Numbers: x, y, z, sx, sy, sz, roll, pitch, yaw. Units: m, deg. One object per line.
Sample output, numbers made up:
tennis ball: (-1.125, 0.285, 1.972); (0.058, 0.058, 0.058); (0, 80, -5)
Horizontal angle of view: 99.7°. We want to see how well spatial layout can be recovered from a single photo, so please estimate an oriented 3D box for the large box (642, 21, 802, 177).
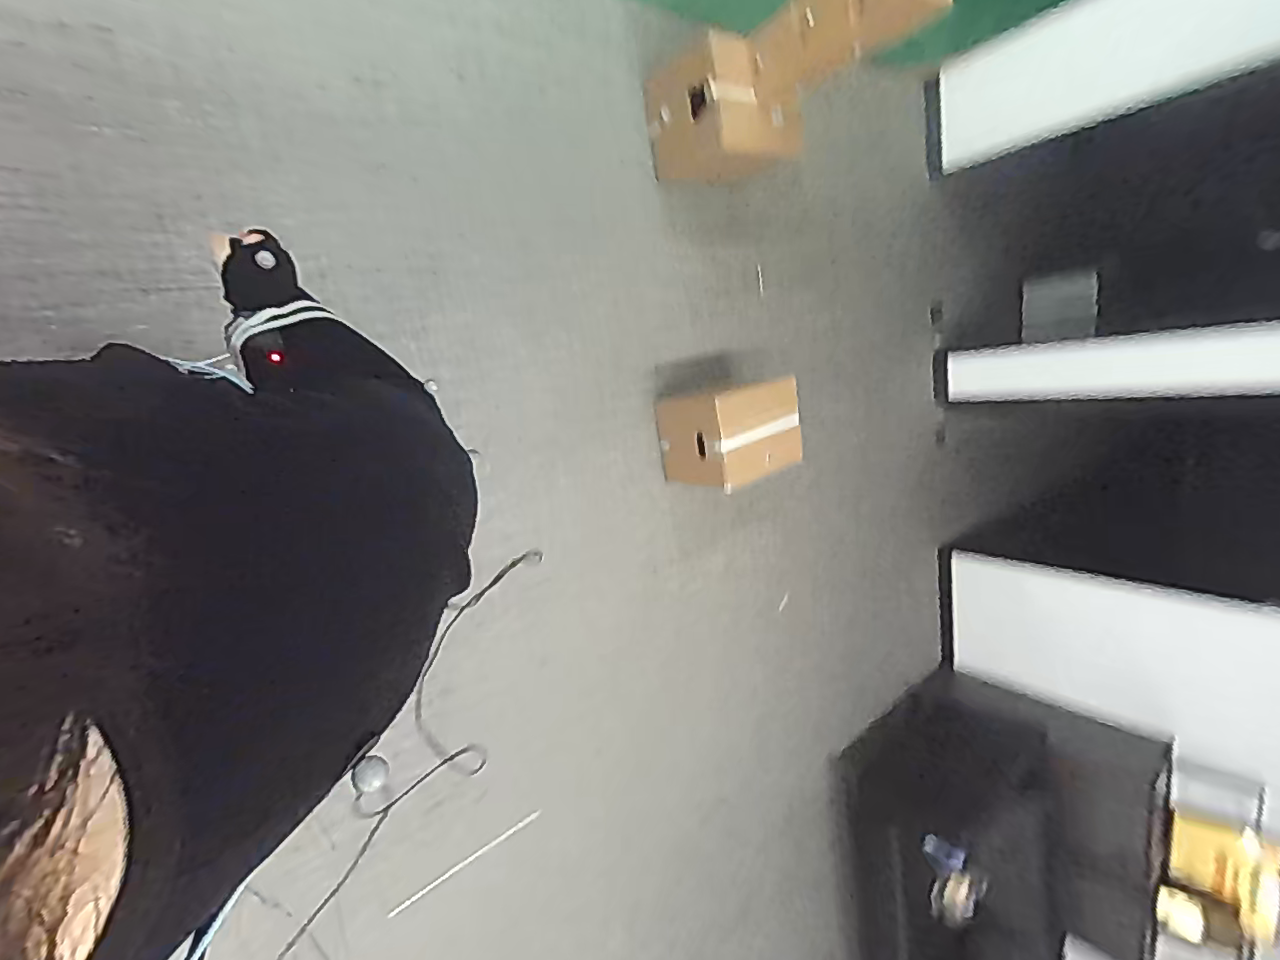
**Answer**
large box: (0.273, -1.222, 1.785); (0.408, 0.320, 0.320); (-21, 107, -35)
